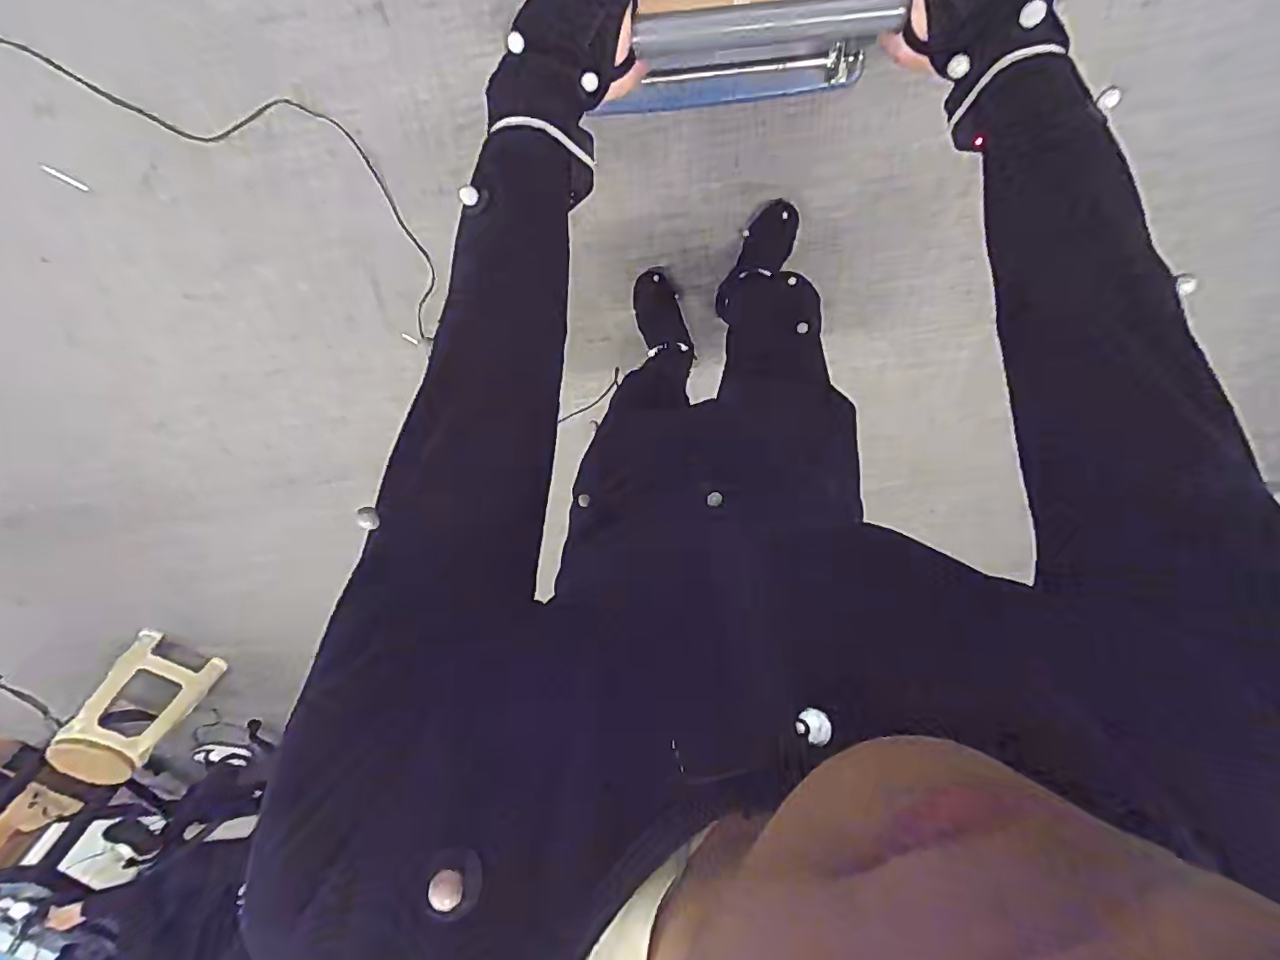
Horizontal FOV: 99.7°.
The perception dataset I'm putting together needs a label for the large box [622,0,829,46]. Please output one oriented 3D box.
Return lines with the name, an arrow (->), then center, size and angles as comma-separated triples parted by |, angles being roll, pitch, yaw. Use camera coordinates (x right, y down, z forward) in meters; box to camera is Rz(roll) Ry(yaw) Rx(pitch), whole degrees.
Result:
large box -> 0.116, -0.896, 0.755 | 0.320, 0.320, 0.408 | -4, 124, 4
